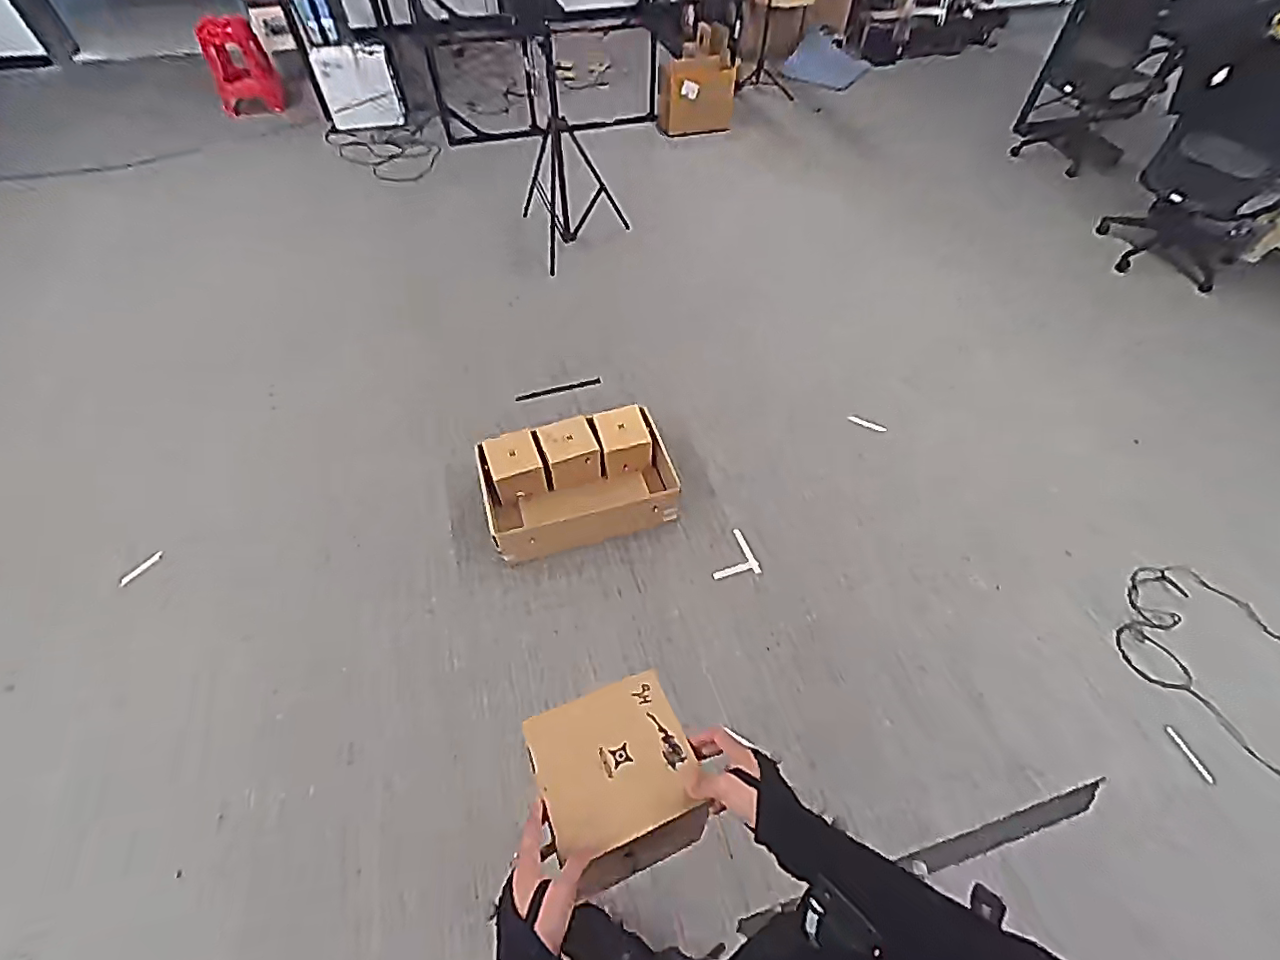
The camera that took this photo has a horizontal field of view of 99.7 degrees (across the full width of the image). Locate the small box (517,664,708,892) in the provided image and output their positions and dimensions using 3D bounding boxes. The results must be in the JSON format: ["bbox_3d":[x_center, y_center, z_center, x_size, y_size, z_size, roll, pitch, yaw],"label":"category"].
[{"bbox_3d":[-0.034,0.365,0.662,0.179,0.176,0.168,-17,47,-17],"label":"small box"}]
